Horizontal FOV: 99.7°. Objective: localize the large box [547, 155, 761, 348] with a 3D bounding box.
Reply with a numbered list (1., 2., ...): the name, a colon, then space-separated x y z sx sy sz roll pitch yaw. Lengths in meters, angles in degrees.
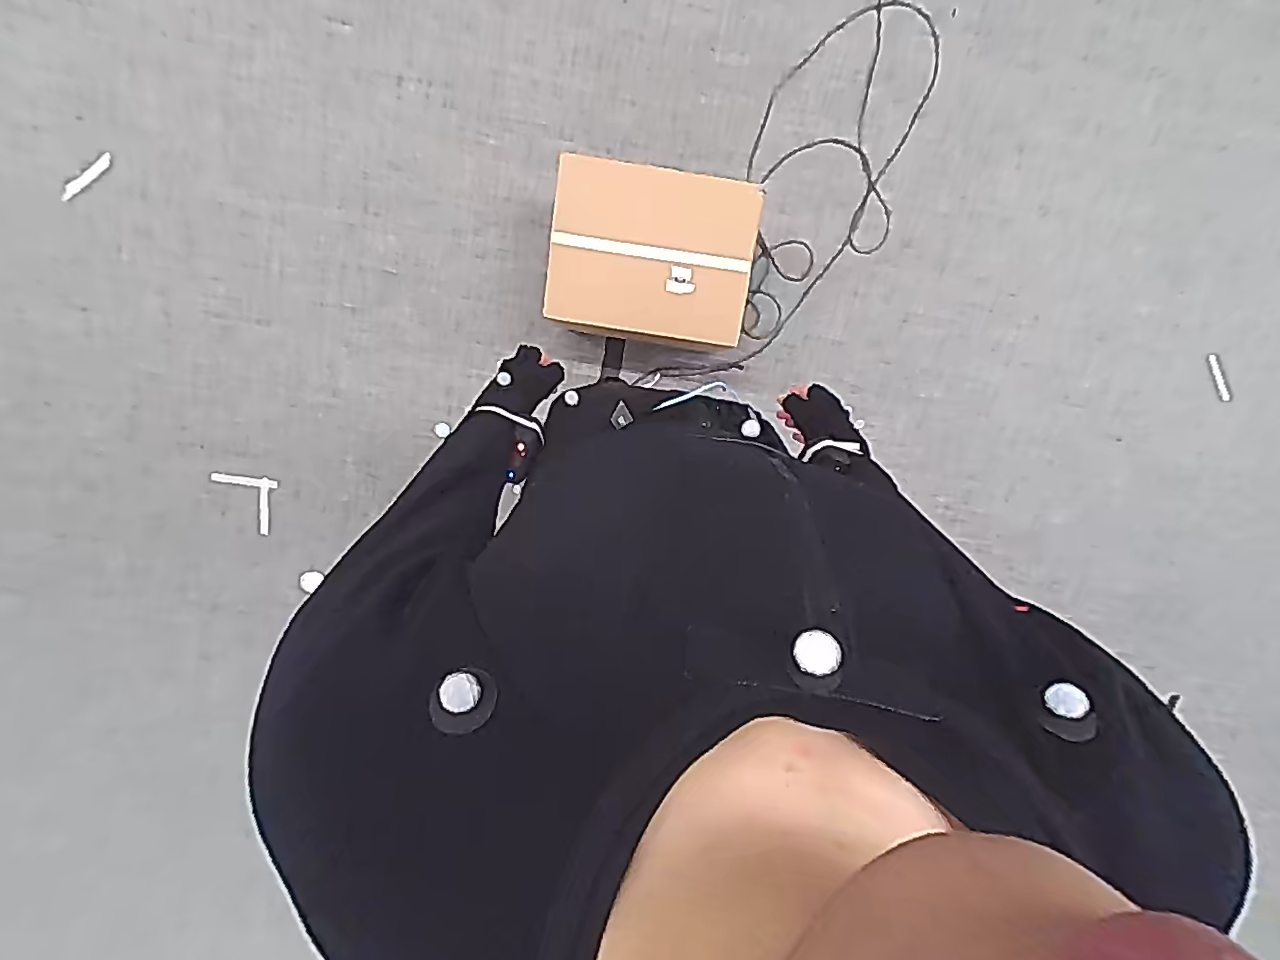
1. large box: 0.020 -0.489 1.233 0.408 0.320 0.320 8 102 -2
